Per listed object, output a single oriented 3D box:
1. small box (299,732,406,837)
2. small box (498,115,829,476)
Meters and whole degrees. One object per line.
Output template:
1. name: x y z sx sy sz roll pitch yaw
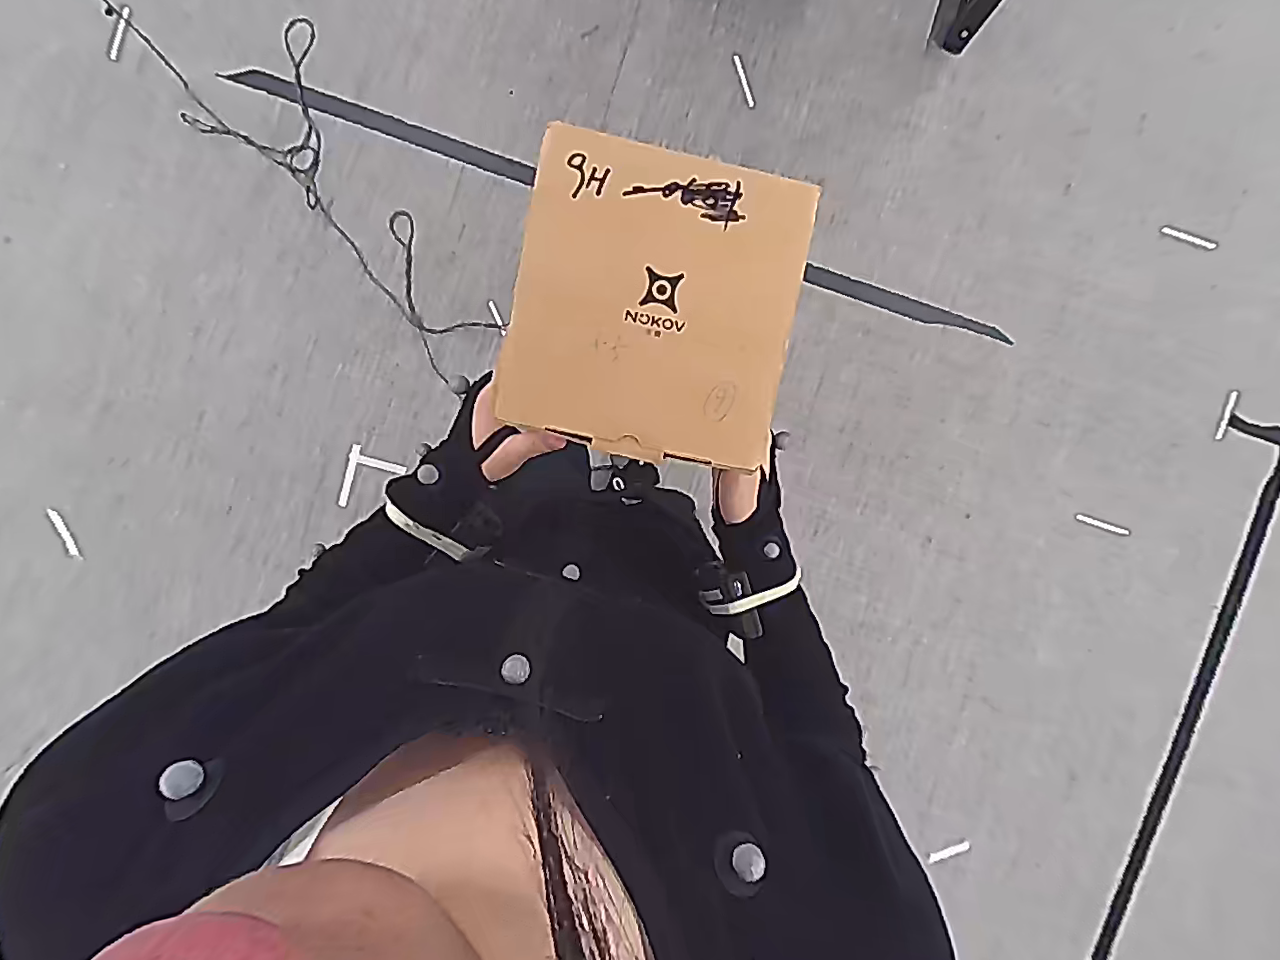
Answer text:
1. small box: -0.742 0.781 1.408 0.179 0.176 0.168 12 94 -2
2. small box: 0.008 -0.111 0.392 0.168 0.176 0.179 11 95 -5
